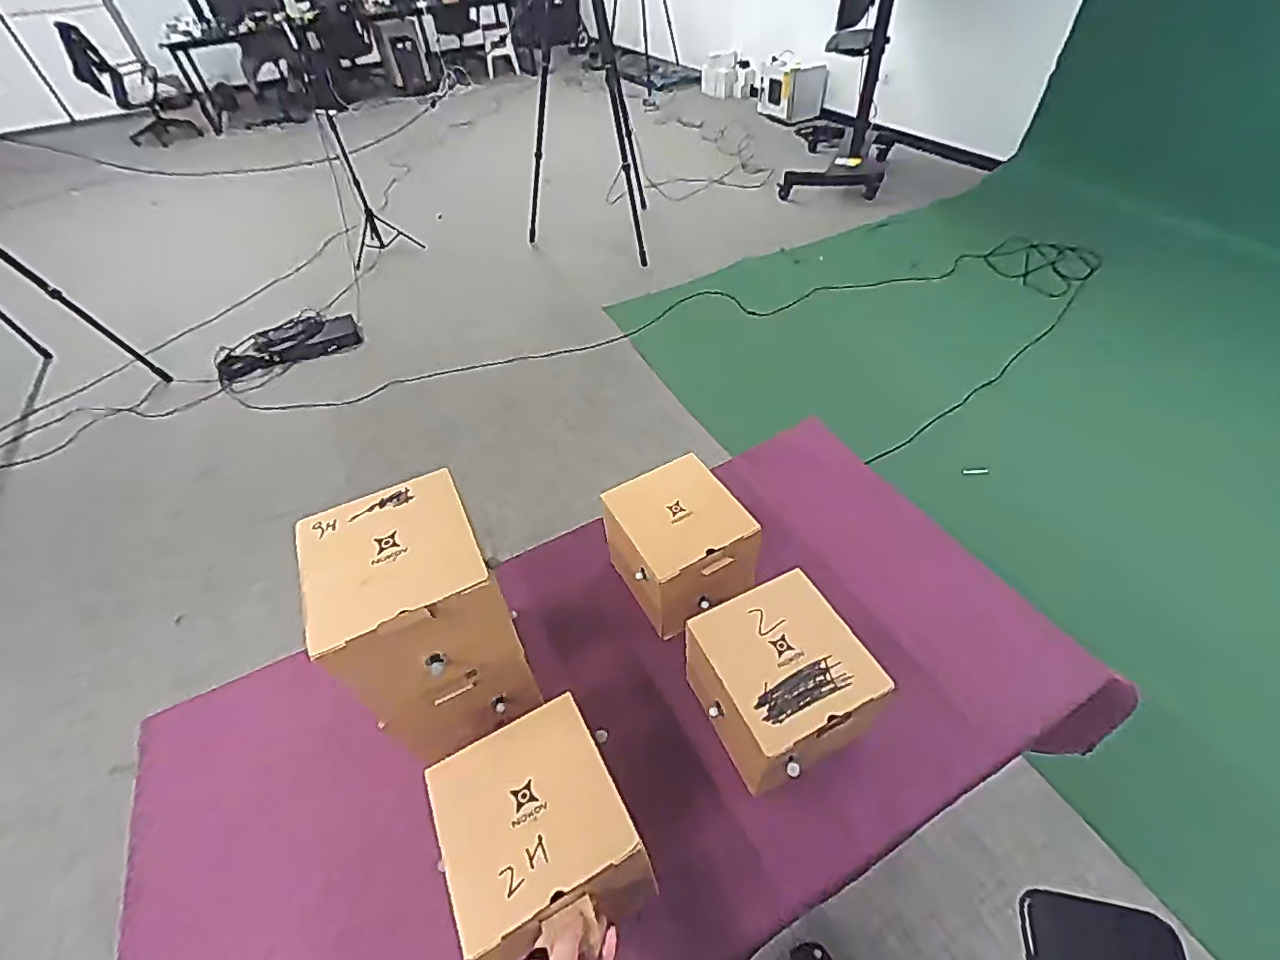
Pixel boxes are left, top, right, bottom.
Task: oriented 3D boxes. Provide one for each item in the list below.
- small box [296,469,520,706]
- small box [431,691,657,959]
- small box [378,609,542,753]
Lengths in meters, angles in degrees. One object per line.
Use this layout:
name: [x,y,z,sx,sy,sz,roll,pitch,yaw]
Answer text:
small box: [-0.248,0.126,0.601,0.168,0.176,0.179,-23,51,-16]
small box: [-0.097,0.370,0.570,0.168,0.176,0.179,-24,42,-17]
small box: [-0.245,0.237,0.723,0.168,0.176,0.179,-23,50,-16]
